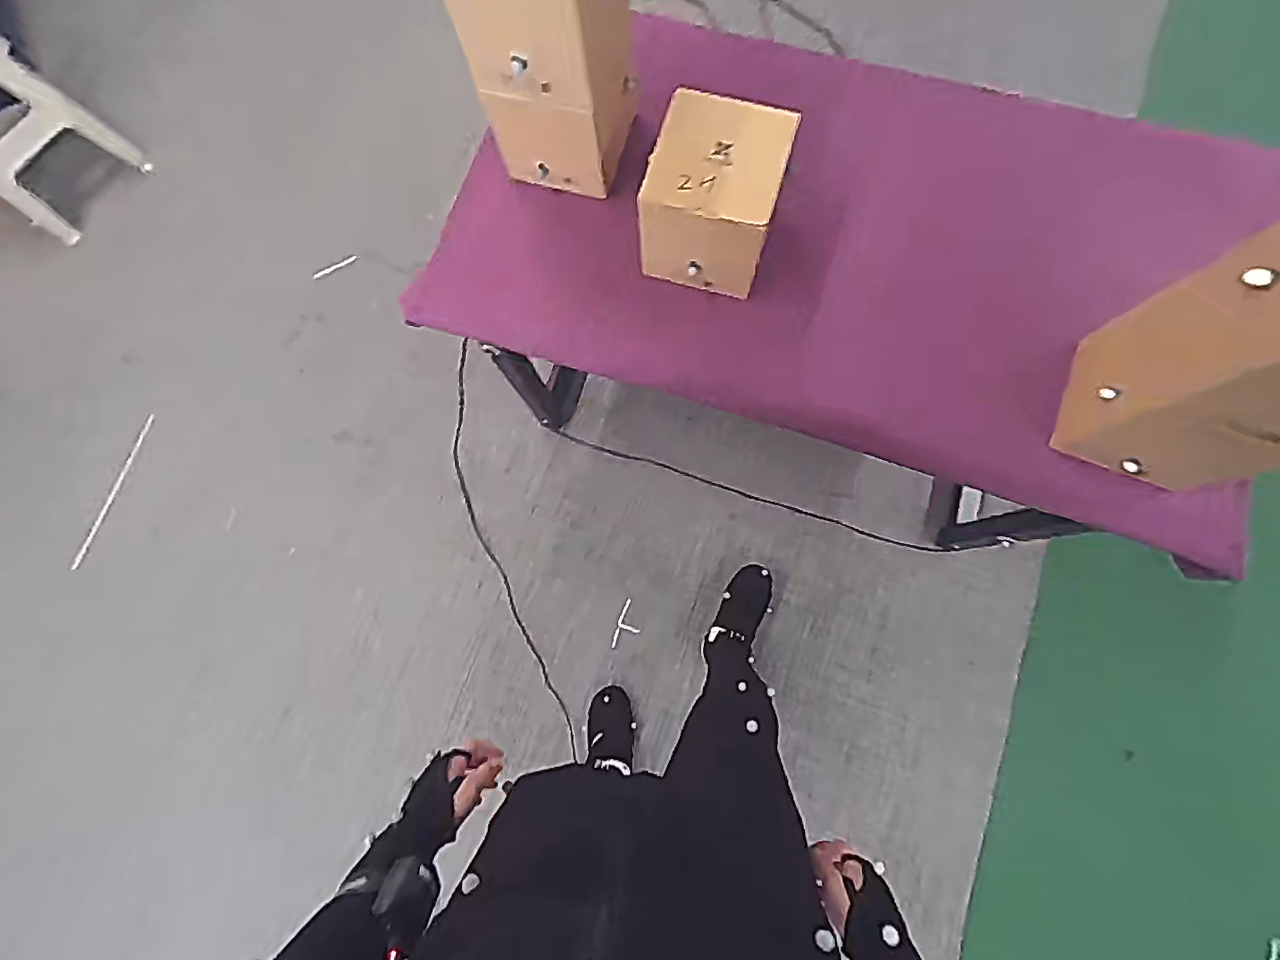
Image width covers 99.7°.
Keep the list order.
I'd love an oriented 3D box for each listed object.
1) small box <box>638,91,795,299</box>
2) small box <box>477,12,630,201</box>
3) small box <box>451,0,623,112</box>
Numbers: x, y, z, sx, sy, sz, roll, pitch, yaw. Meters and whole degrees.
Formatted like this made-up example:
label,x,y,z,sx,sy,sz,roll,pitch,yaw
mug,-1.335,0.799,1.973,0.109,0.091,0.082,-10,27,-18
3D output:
label,x,y,z,sx,sy,sz,roll,pitch,yaw
small box,0.101,-0.391,0.765,0.168,0.176,0.179,17,80,6
small box,-0.116,-0.564,0.811,0.168,0.176,0.179,15,80,6
small box,-0.122,-0.597,0.651,0.168,0.176,0.179,15,80,6
